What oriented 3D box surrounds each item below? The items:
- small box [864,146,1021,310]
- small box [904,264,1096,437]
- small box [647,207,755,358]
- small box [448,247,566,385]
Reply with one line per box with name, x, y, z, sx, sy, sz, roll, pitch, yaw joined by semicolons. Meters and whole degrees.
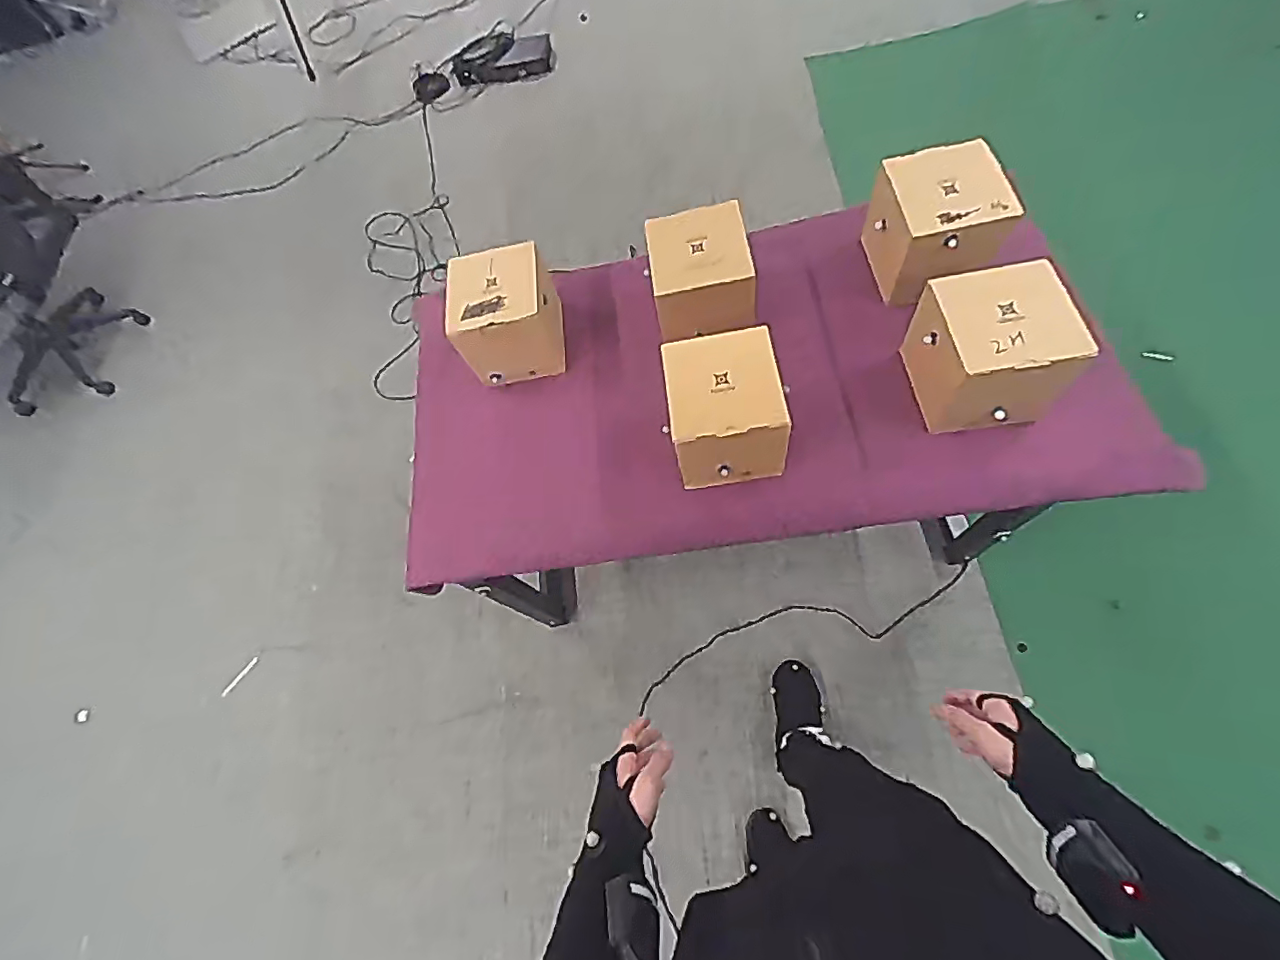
small box;0.502;-0.426;0.931;0.168;0.176;0.179;-10;65;7
small box;0.523;-0.189;0.820;0.168;0.176;0.179;-8;64;8
small box;0.110;-0.349;0.976;0.168;0.176;0.179;-9;66;8
small box;-0.242;-0.296;1.017;0.168;0.176;0.179;-10;65;6
